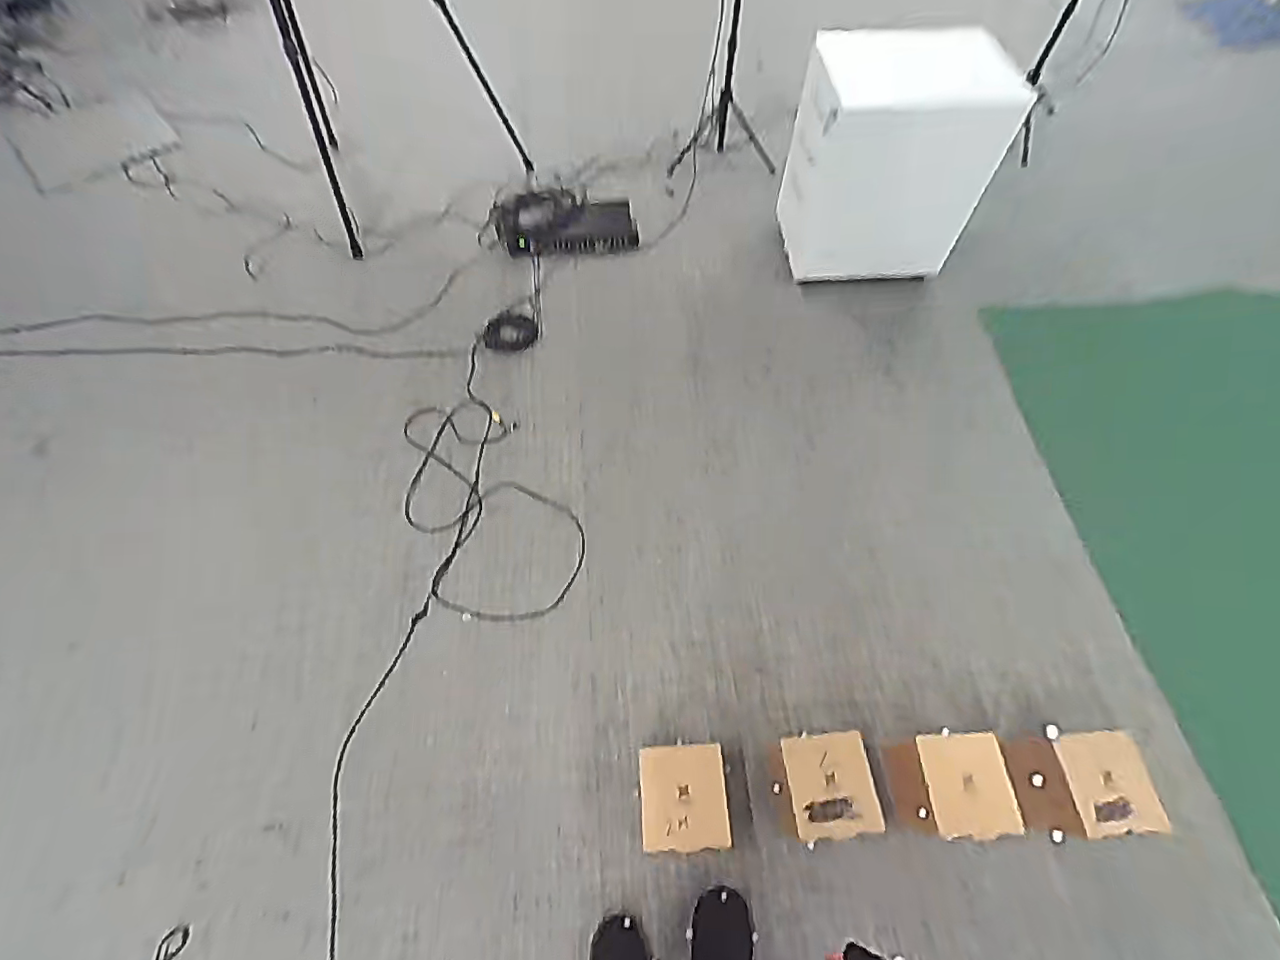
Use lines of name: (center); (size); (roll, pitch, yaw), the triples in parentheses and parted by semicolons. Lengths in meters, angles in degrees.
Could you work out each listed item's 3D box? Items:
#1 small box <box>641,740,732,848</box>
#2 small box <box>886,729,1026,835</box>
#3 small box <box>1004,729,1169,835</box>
small box: (0.088, 0.641, 1.108); (0.168, 0.176, 0.179); (-3, 61, 0)
small box: (0.636, 0.622, 1.118); (0.168, 0.176, 0.179); (-2, 61, -1)
small box: (0.905, 0.620, 1.118); (0.168, 0.176, 0.179); (-3, 60, -1)
